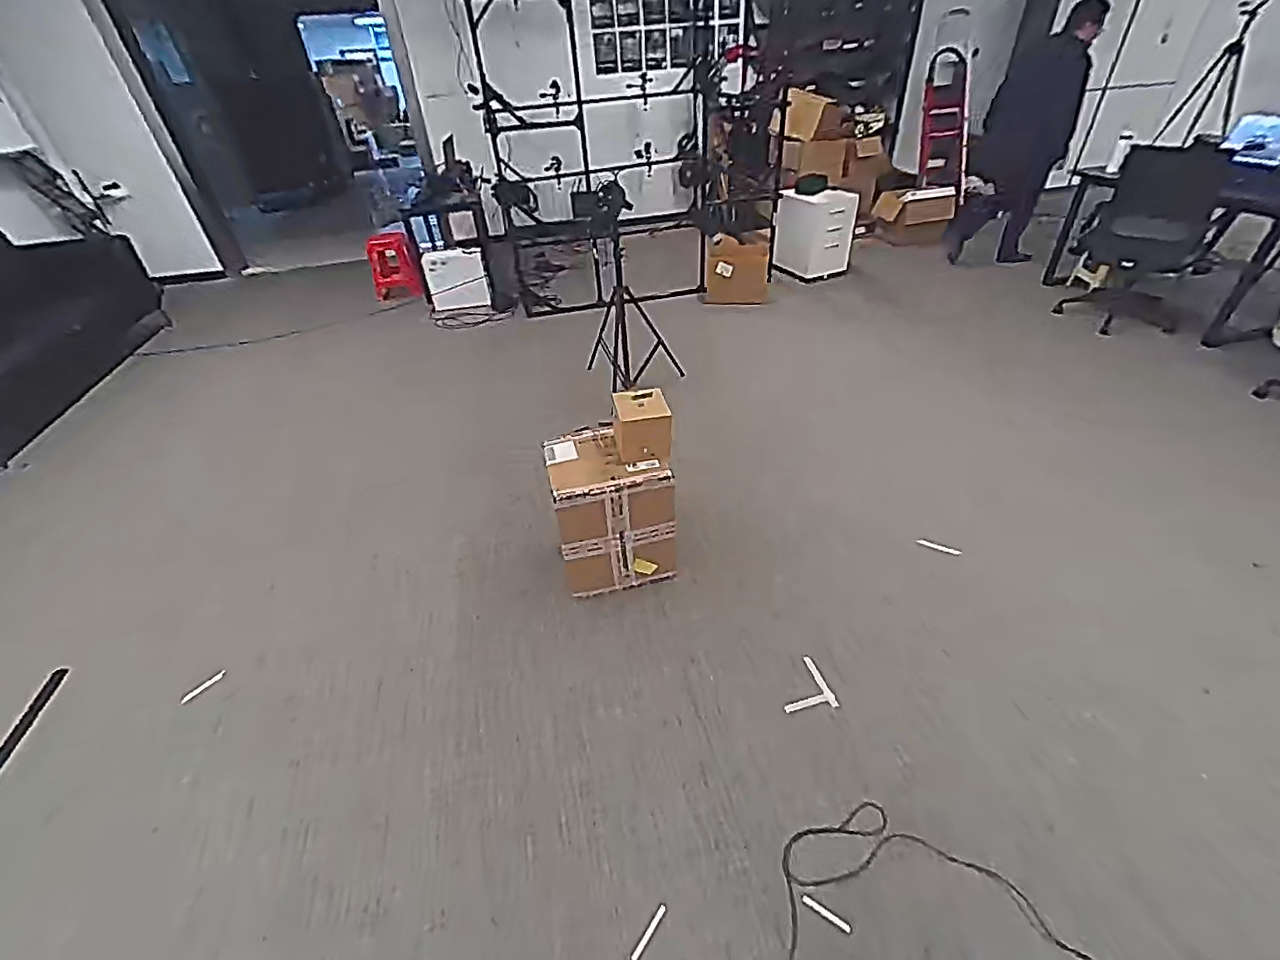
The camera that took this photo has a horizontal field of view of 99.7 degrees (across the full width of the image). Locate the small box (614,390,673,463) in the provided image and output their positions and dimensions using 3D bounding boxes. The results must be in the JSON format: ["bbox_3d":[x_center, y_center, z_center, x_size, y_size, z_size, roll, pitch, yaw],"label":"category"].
[{"bbox_3d":[0.007,-0.178,1.789,0.168,0.176,0.179,-8,41,-8],"label":"small box"}]
